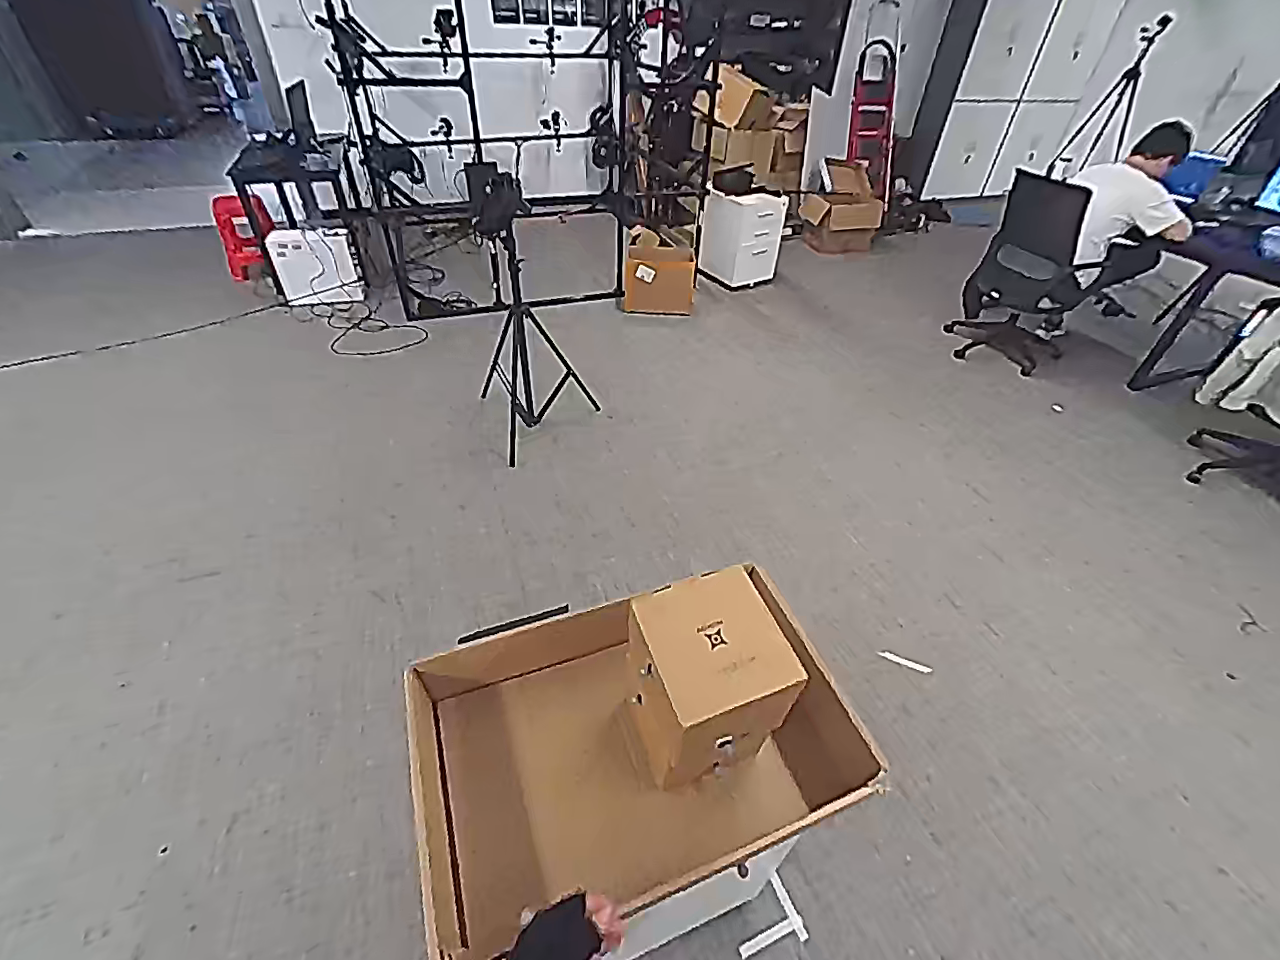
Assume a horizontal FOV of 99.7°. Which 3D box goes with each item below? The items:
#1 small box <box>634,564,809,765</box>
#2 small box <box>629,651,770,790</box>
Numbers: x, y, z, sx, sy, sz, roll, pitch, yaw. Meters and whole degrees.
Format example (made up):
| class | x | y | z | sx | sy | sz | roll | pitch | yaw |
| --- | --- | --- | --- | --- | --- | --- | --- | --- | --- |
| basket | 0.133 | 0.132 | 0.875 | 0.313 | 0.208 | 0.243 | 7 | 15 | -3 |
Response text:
| class | x | y | z | sx | sy | sz | roll | pitch | yaw |
| --- | --- | --- | --- | --- | --- | --- | --- | --- | --- |
| small box | 0.094 | 0.249 | 0.730 | 0.168 | 0.176 | 0.179 | -16 | 50 | -15 |
| small box | 0.089 | 0.356 | 0.853 | 0.179 | 0.176 | 0.168 | -14 | 48 | -16 |
